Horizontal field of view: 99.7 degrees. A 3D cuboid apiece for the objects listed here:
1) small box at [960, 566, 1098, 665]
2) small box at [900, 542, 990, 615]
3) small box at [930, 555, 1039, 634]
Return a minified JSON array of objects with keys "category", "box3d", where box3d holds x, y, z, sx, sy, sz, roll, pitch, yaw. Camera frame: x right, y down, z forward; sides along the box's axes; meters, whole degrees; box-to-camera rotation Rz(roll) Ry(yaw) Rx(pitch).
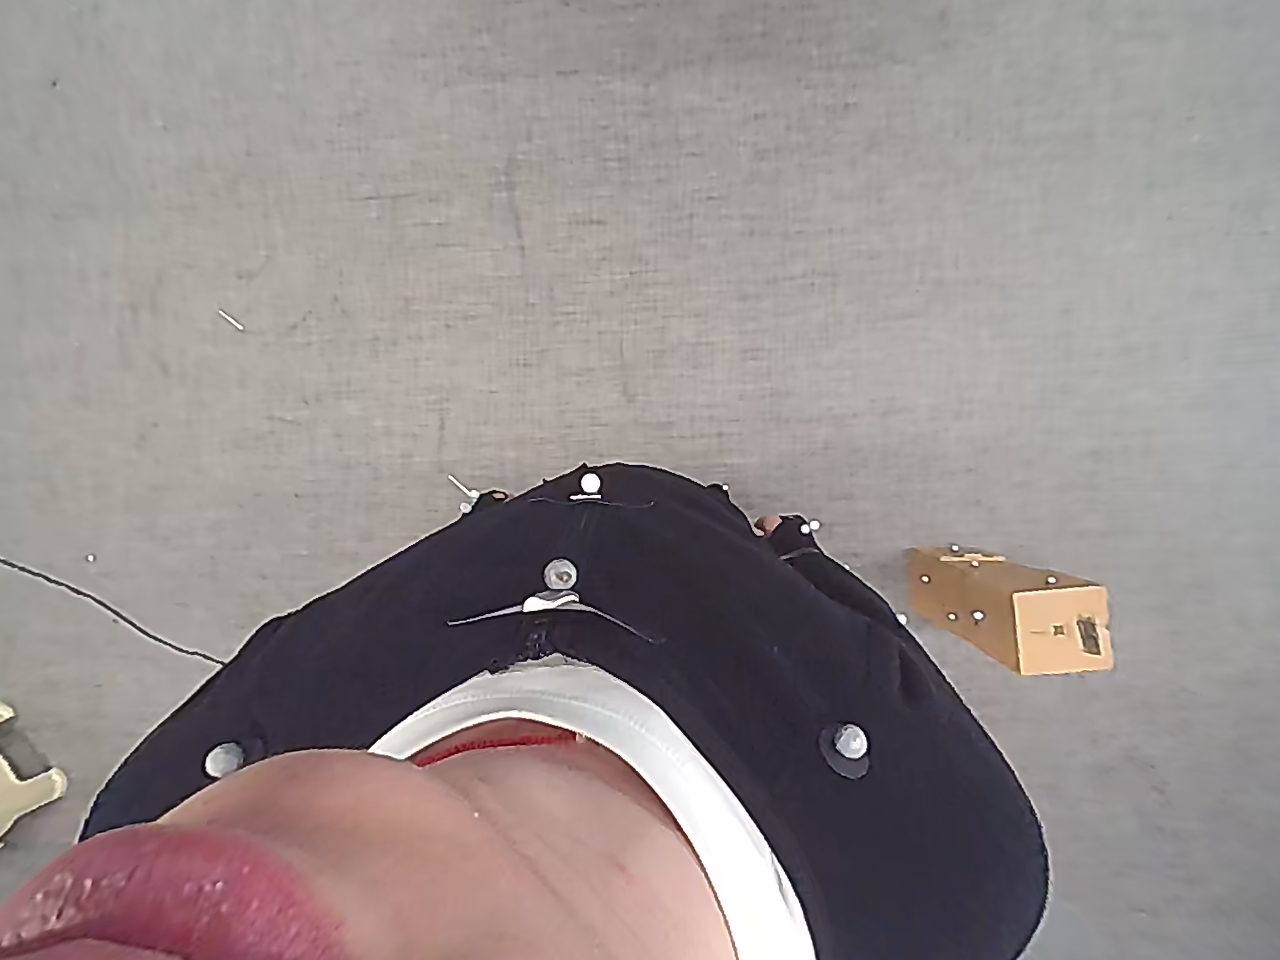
[{"category":"small box","box3d":[0.816,0.280,1.148,0.179,0.176,0.168,-3,91,1]},{"category":"small box","box3d":[0.838,0.269,1.495,0.168,0.176,0.179,-3,92,0]},{"category":"small box","box3d":[0.829,0.279,1.314,0.179,0.176,0.168,-2,93,0]}]
